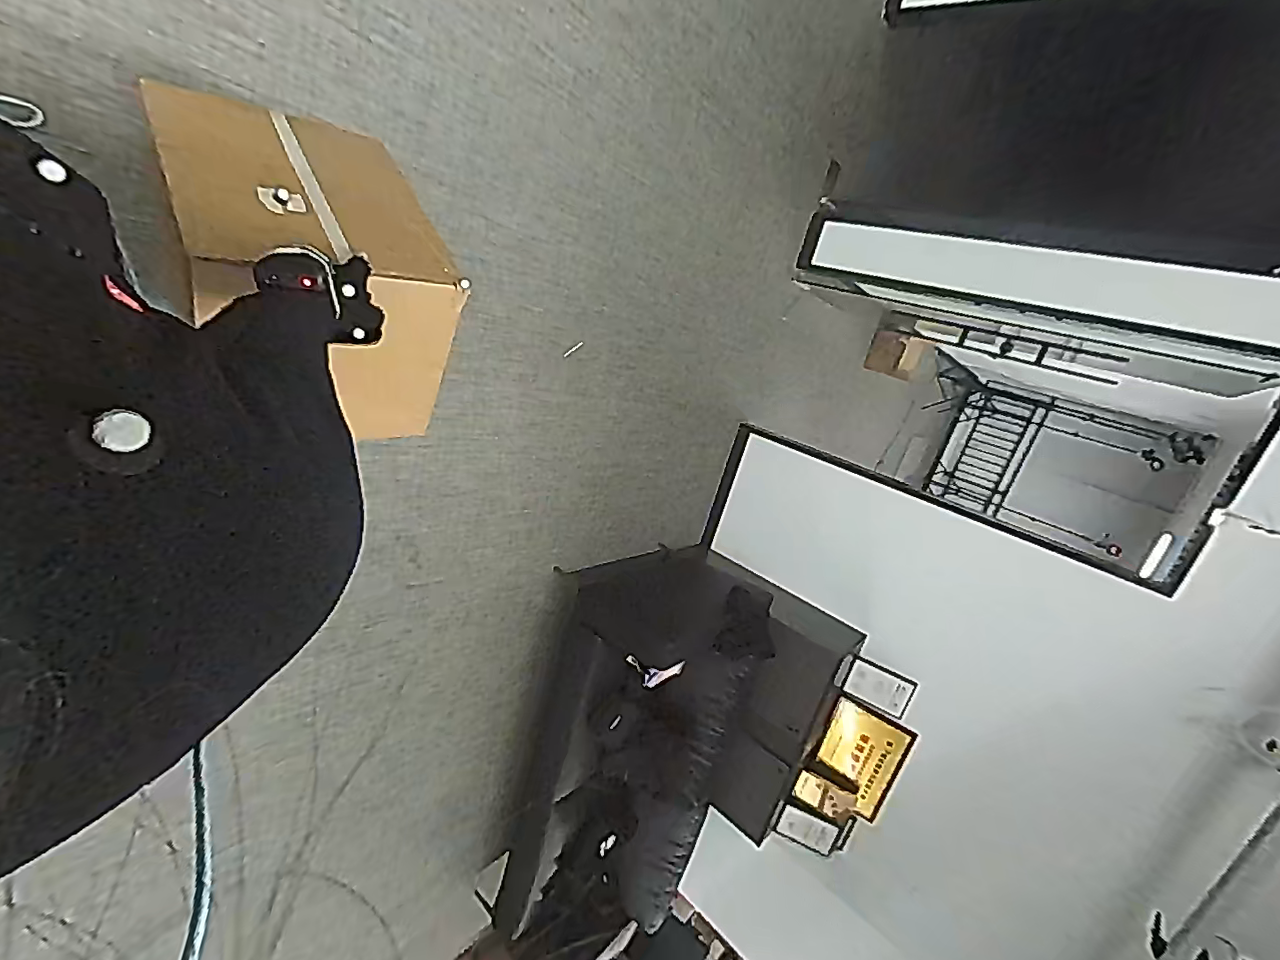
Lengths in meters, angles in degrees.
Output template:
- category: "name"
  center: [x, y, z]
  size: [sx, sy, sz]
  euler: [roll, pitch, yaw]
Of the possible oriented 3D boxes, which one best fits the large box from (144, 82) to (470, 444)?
- category: "large box"
  center: [-0.525, -0.314, 0.848]
  size: [0.320, 0.408, 0.320]
  euler: [-11, 149, -41]
